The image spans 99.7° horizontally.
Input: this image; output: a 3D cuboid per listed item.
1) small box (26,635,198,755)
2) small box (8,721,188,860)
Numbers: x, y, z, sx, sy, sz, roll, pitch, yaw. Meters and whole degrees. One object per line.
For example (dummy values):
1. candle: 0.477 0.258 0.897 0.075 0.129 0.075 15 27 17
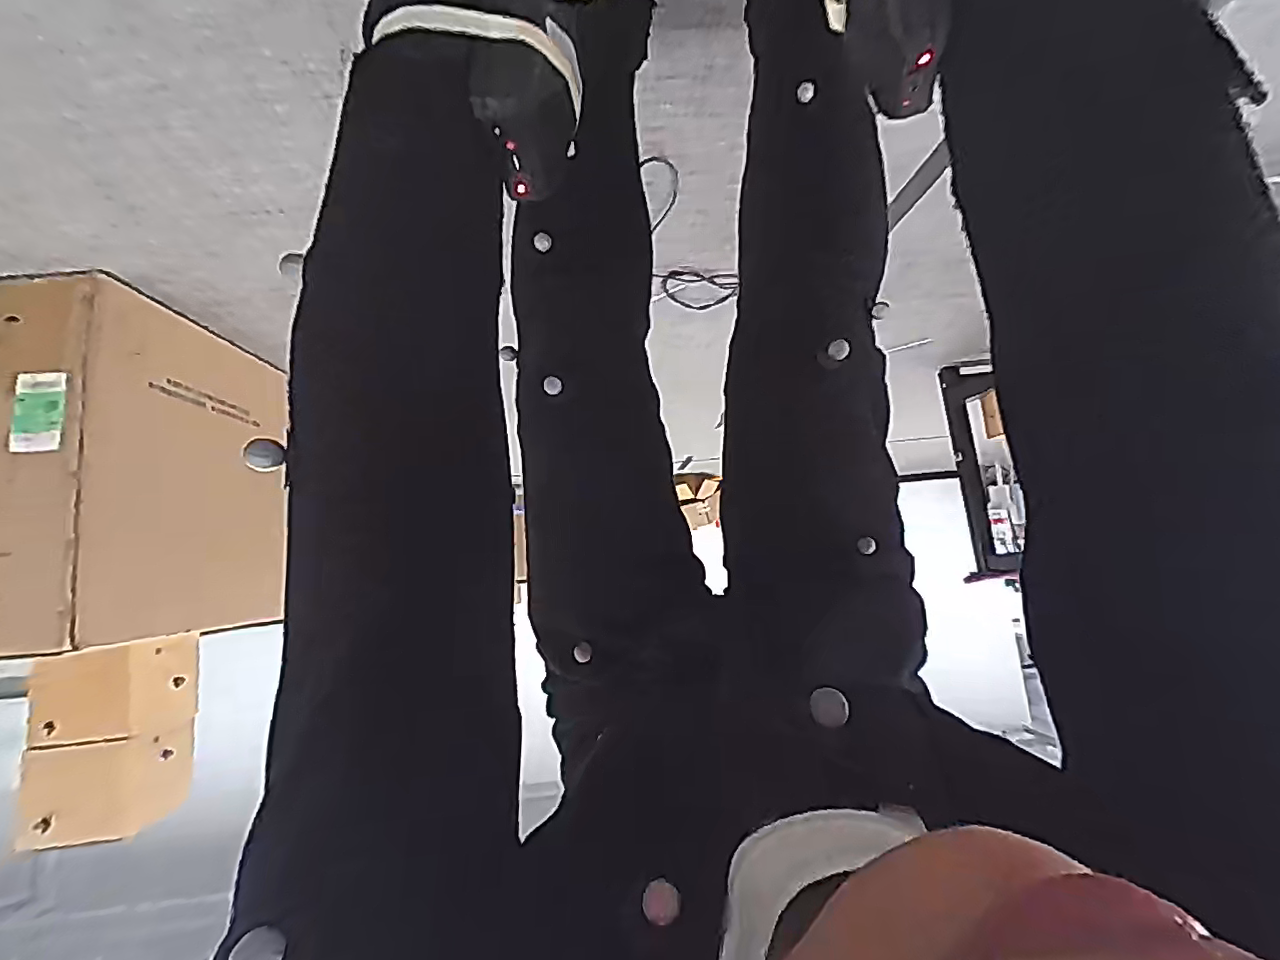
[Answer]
1. small box: -0.987 0.392 1.021 0.179 0.176 0.168 -5 172 -4
2. small box: -0.978 0.555 0.995 0.179 0.176 0.168 -4 172 -7
